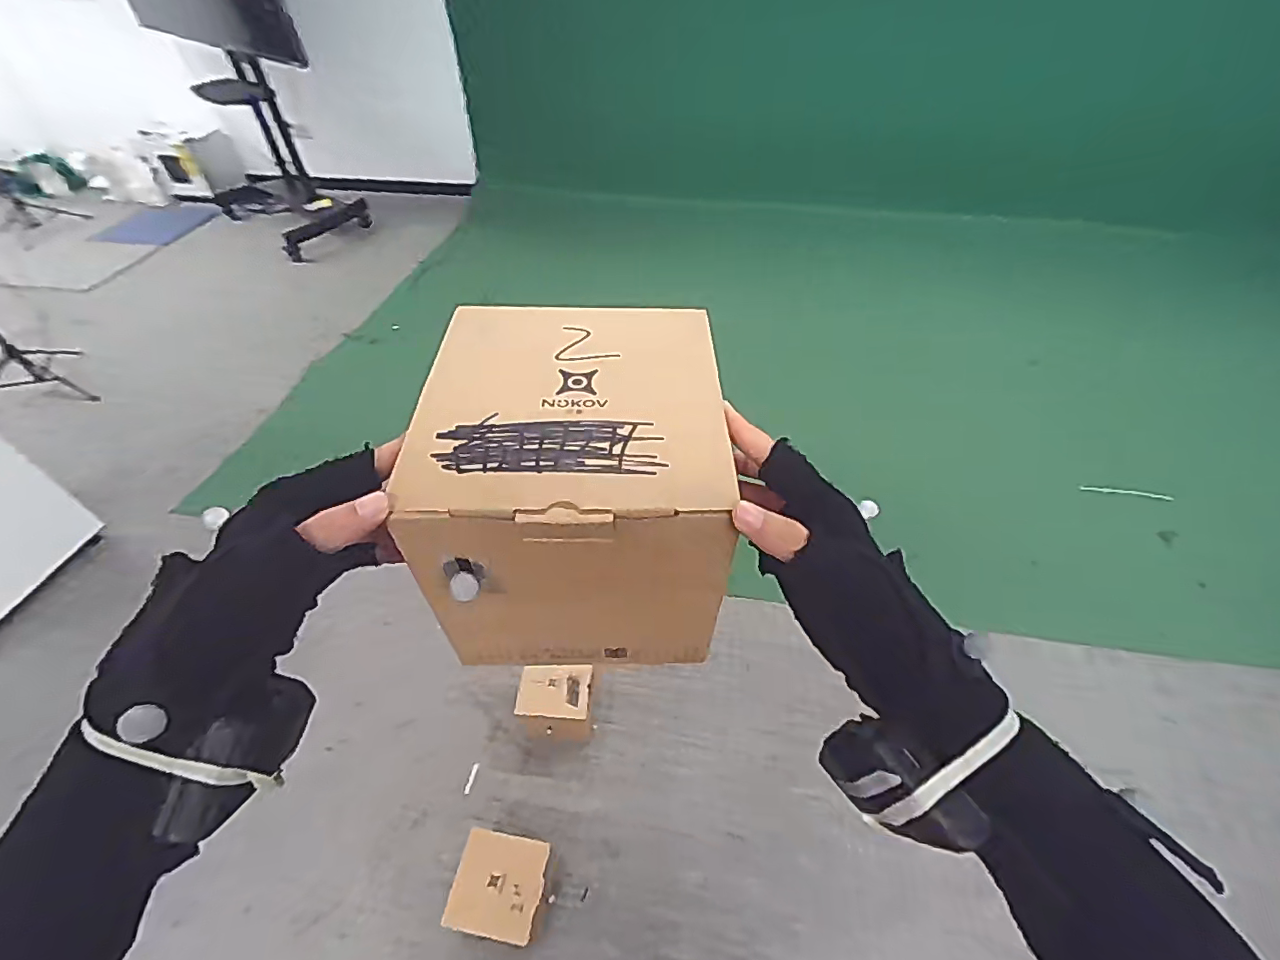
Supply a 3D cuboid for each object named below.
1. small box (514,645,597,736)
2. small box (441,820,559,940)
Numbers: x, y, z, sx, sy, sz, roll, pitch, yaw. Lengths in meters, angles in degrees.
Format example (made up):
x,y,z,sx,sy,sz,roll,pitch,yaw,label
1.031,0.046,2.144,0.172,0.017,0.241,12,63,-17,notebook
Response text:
x,y,z,sx,sy,sz,roll,pitch,yaw,label
-0.208,0.548,1.398,0.179,0.176,0.168,3,46,4,small box
-0.280,0.834,1.124,0.179,0.176,0.168,8,48,6,small box
